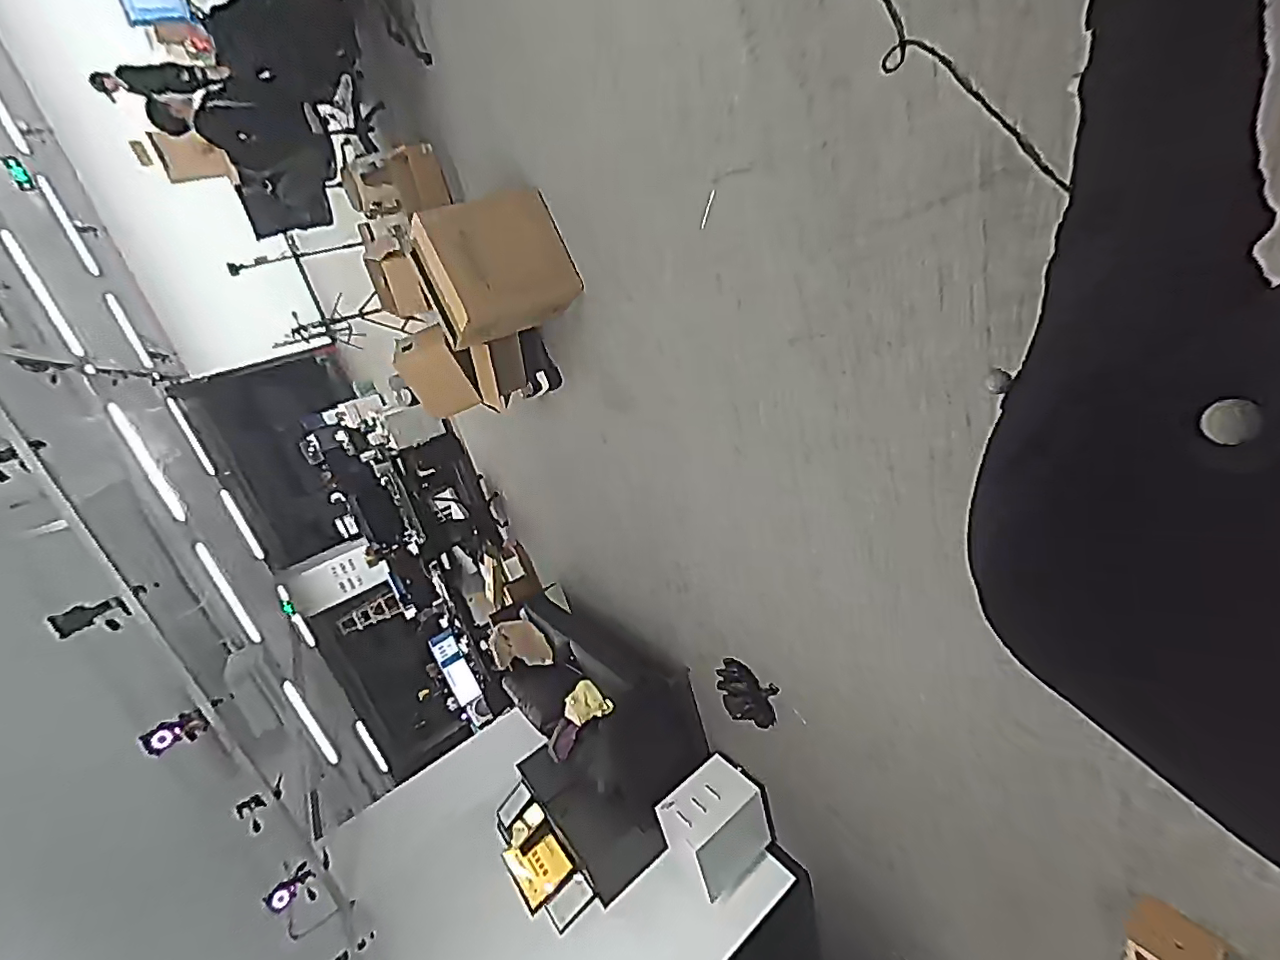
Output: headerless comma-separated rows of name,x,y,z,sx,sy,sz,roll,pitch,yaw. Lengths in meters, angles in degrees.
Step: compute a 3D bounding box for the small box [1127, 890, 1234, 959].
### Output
small box,1.554,1.339,1.558,0.179,0.176,0.168,16,128,55
